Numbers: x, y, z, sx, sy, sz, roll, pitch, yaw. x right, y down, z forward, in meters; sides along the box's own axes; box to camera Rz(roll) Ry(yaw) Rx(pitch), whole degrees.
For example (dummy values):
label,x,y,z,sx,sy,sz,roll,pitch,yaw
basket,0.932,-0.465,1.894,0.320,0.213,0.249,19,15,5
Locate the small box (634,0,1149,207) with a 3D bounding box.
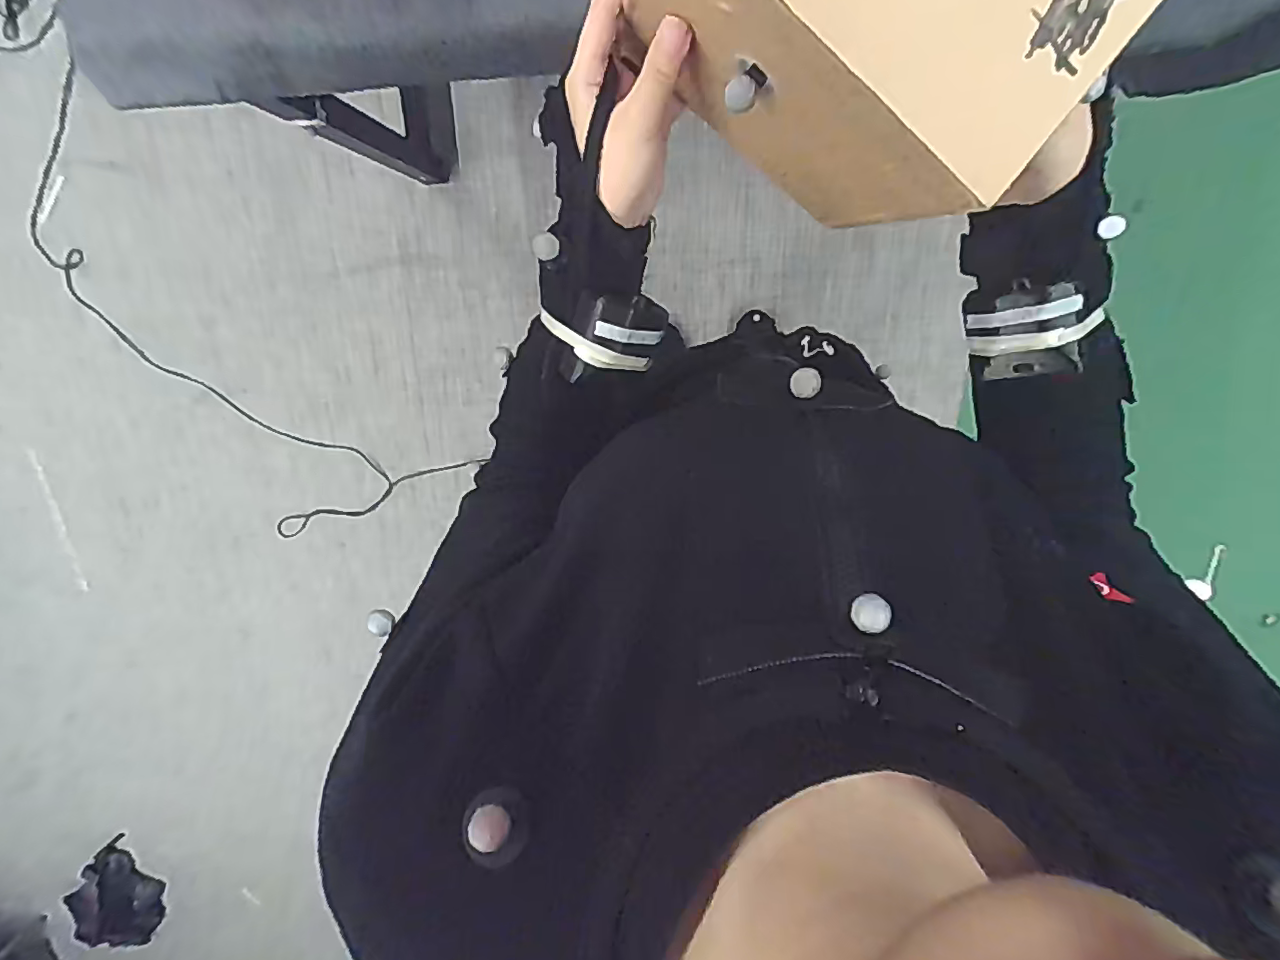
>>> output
label,x,y,z,sx,sy,sz,roll,pitch,yaw
small box,0.108,-0.247,0.243,0.179,0.176,0.168,32,108,-14
